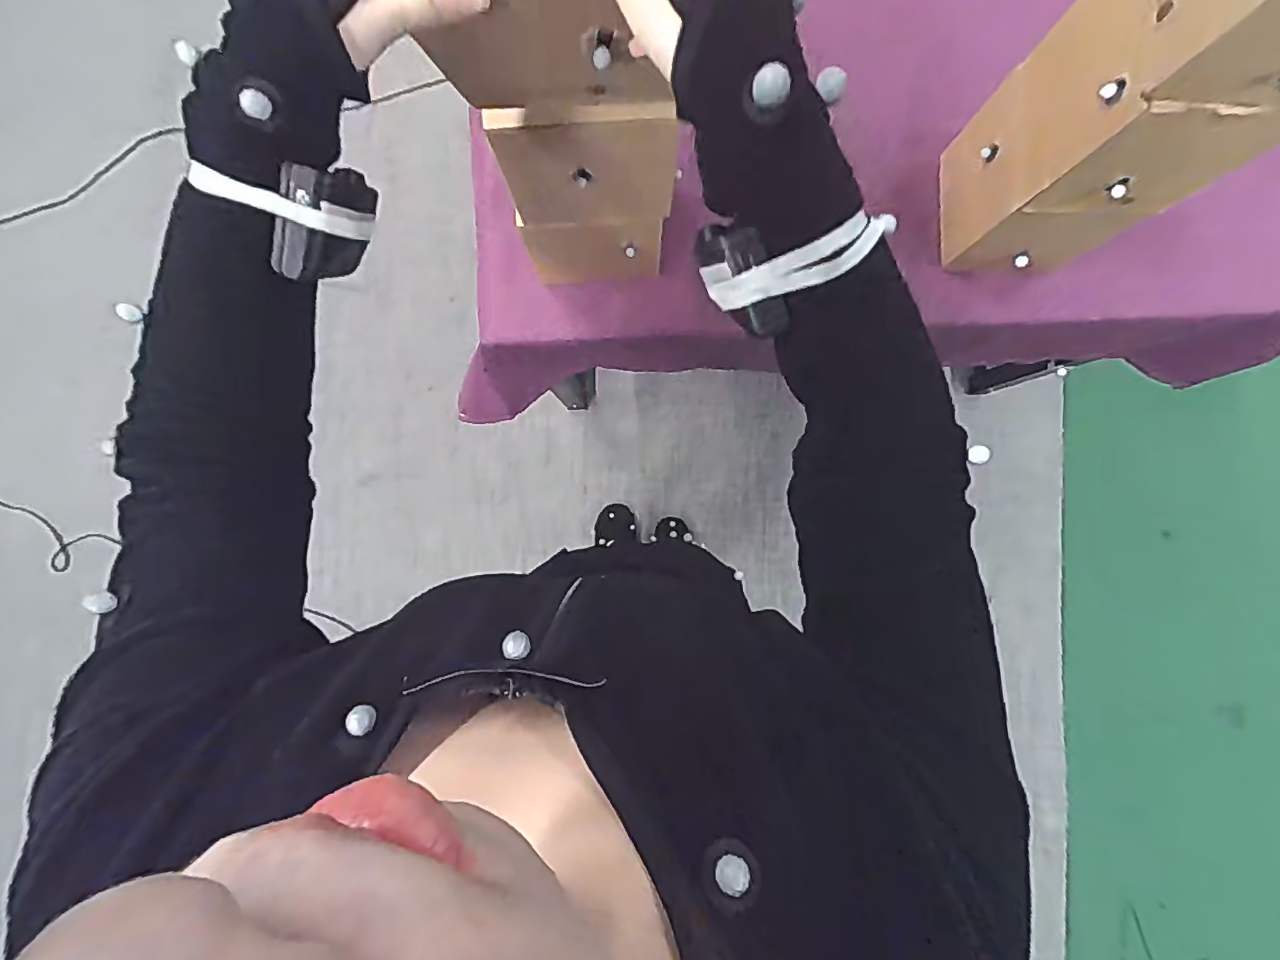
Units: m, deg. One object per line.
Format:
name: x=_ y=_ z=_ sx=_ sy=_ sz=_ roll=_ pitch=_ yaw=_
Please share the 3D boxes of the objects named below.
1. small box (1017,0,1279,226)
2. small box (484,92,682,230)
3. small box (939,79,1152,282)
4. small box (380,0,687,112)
small box: x=0.523 y=-0.390 z=0.554 sx=0.168 sy=0.176 sz=0.179 roll=1 pitch=89 yaw=0
small box: x=-0.054 y=-0.379 z=0.556 sx=0.179 sy=0.176 sz=0.168 roll=-3 pitch=88 yaw=0
small box: x=0.521 y=-0.384 z=0.717 sx=0.168 sy=0.176 sz=0.179 roll=1 pitch=88 yaw=1
small box: x=-0.053 y=-0.353 z=0.330 sx=0.168 sy=0.176 sz=0.179 roll=2 pitch=102 yaw=4
